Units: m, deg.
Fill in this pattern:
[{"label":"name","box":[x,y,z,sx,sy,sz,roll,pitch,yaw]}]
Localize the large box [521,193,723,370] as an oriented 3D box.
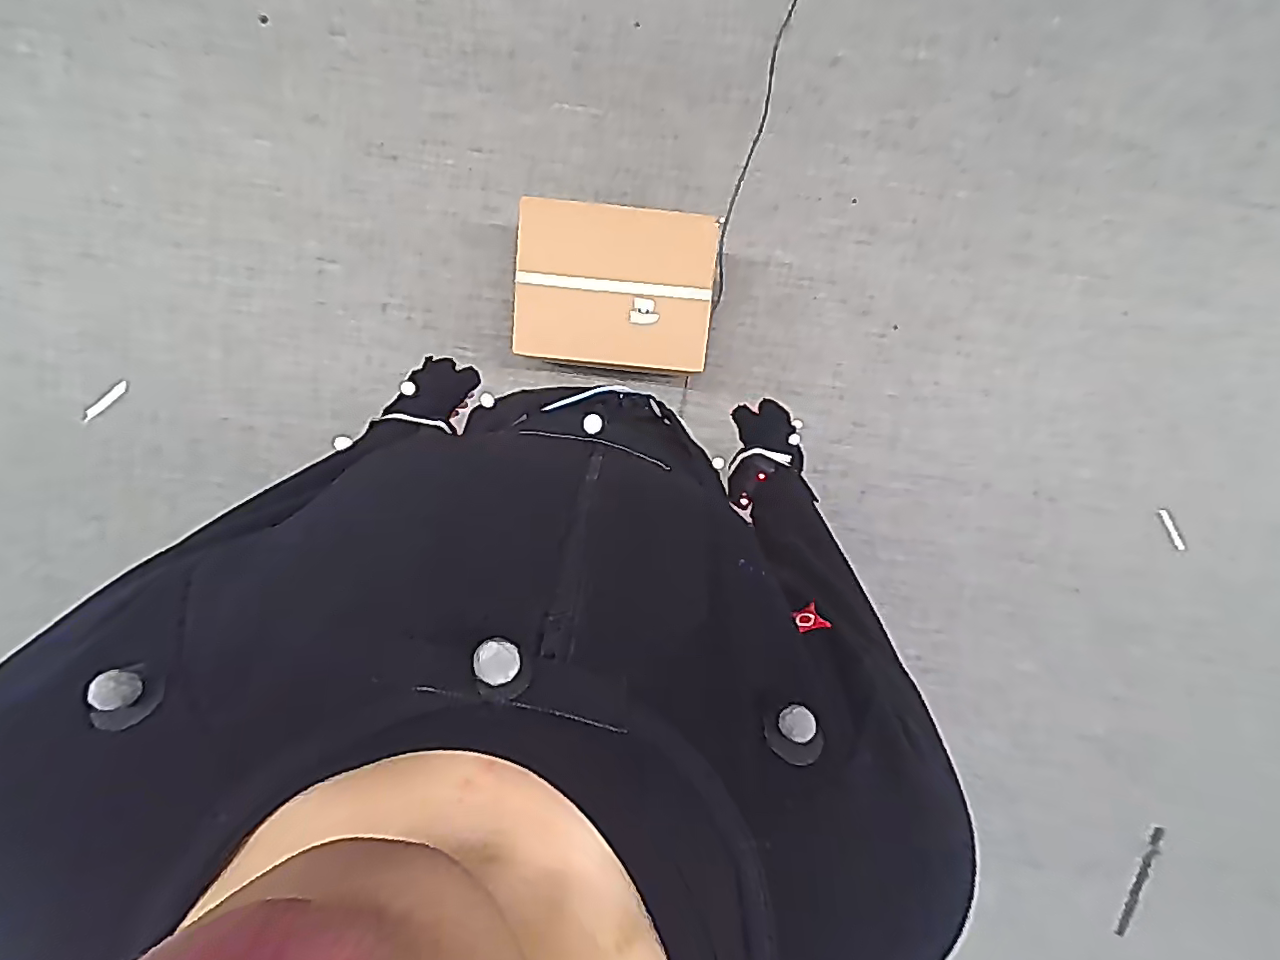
[{"label":"large box","box":[-0.046,-0.434,1.262,0.408,0.320,0.320,6,100,-2]}]
